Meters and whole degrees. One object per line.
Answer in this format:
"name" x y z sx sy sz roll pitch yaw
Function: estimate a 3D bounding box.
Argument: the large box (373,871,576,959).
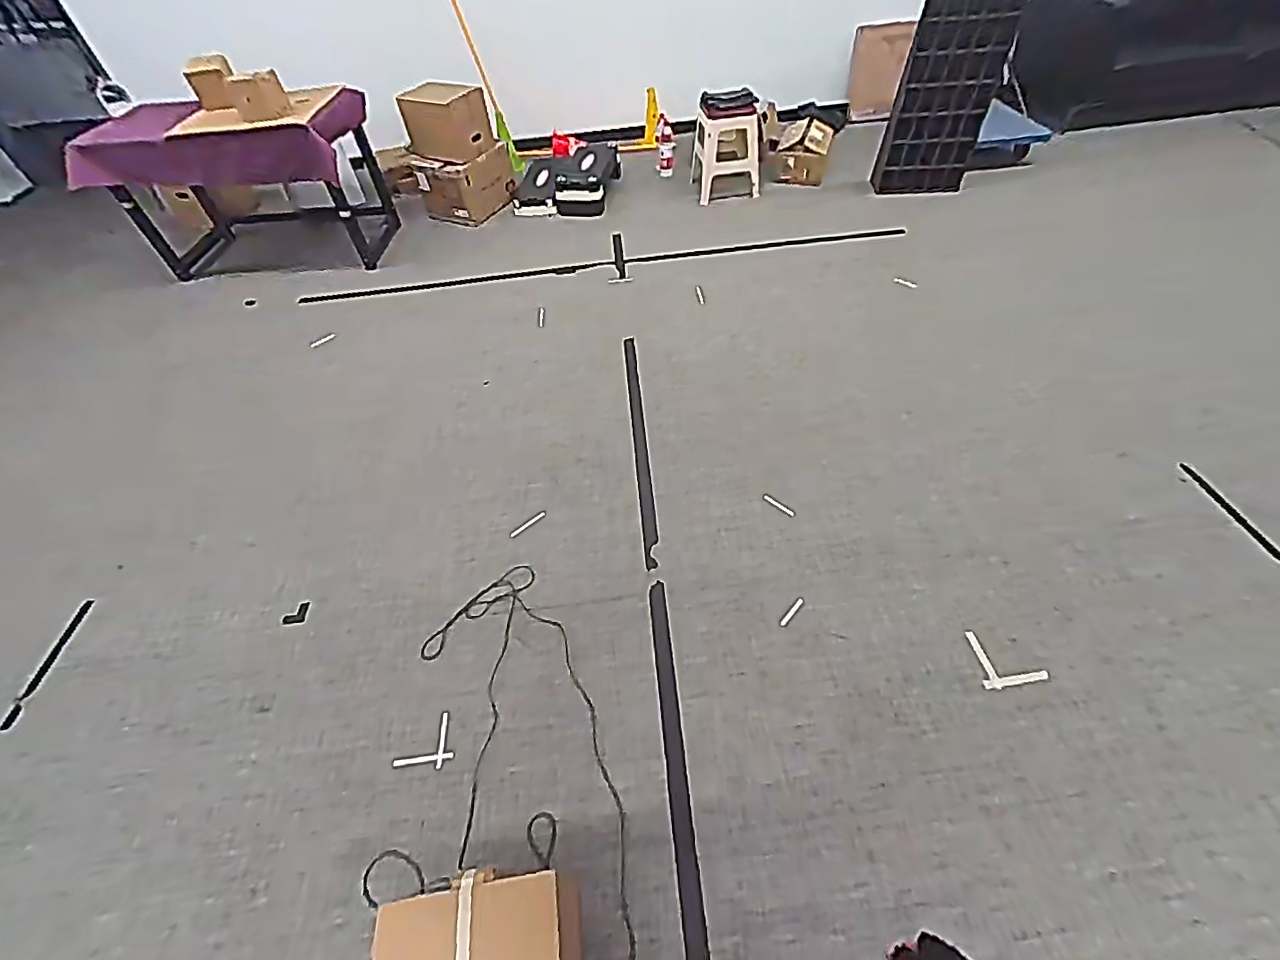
"large box" -0.274 0.976 0.960 0.320 0.320 0.408 -9 51 -4
